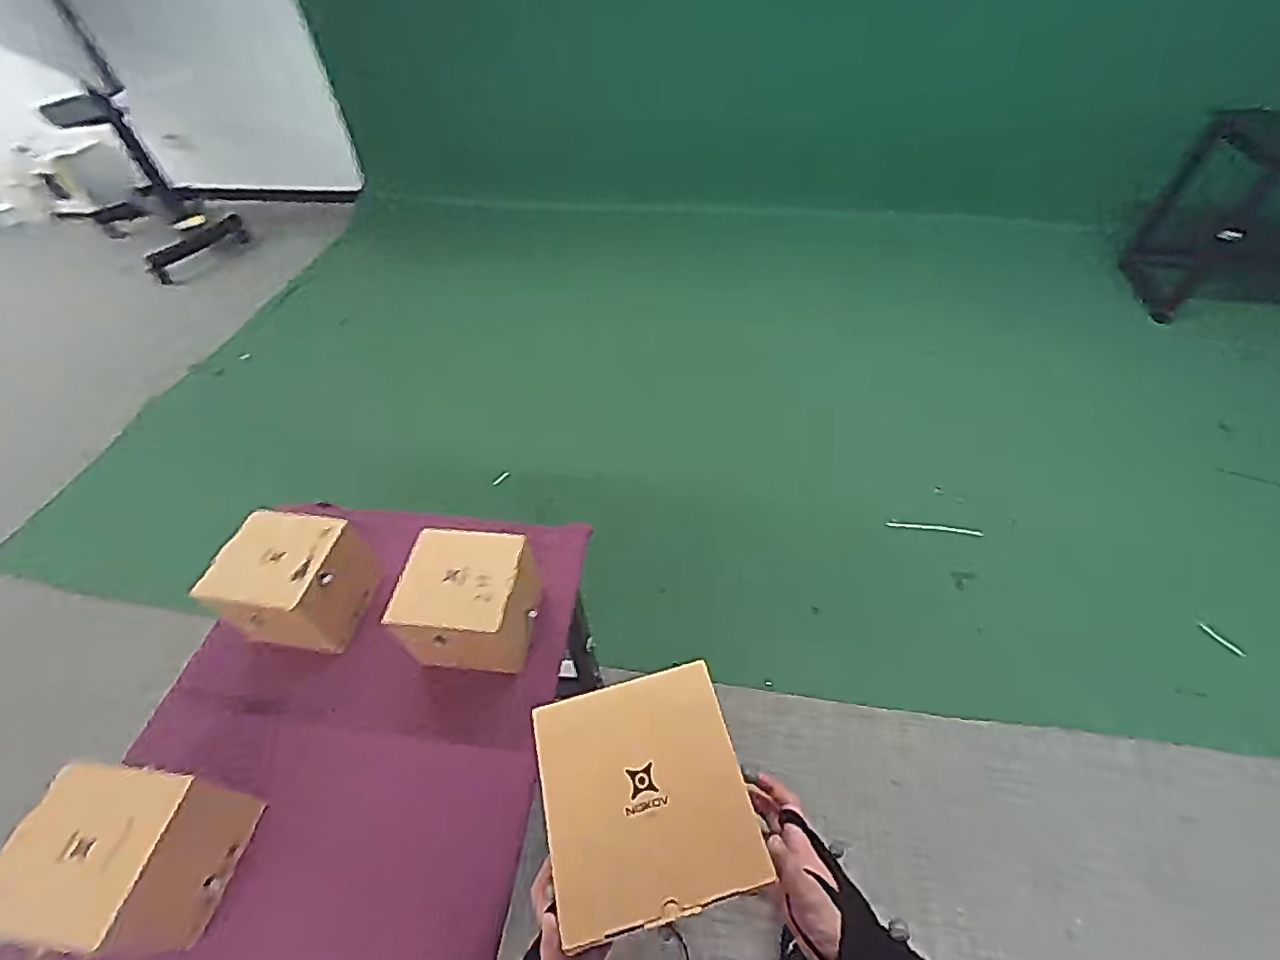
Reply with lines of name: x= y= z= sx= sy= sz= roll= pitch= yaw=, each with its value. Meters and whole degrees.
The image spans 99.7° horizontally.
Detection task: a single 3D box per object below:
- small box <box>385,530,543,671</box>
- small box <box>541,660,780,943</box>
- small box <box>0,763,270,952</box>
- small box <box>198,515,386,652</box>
small box: x=-0.274 y=0.201 z=0.887 sx=0.179 sy=0.176 sz=0.168 roll=3 pitch=52 yaw=6
small box: x=0.012 y=0.299 z=0.509 sx=0.168 sy=0.176 sz=0.179 roll=-14 pitch=53 yaw=-5
small box: x=-0.631 y=0.478 z=0.685 sx=0.179 sy=0.176 sz=0.168 roll=4 pitch=51 yaw=6
small box: x=-0.580 y=0.180 z=0.930 sx=0.179 sy=0.176 sz=0.168 roll=5 pitch=51 yaw=8
